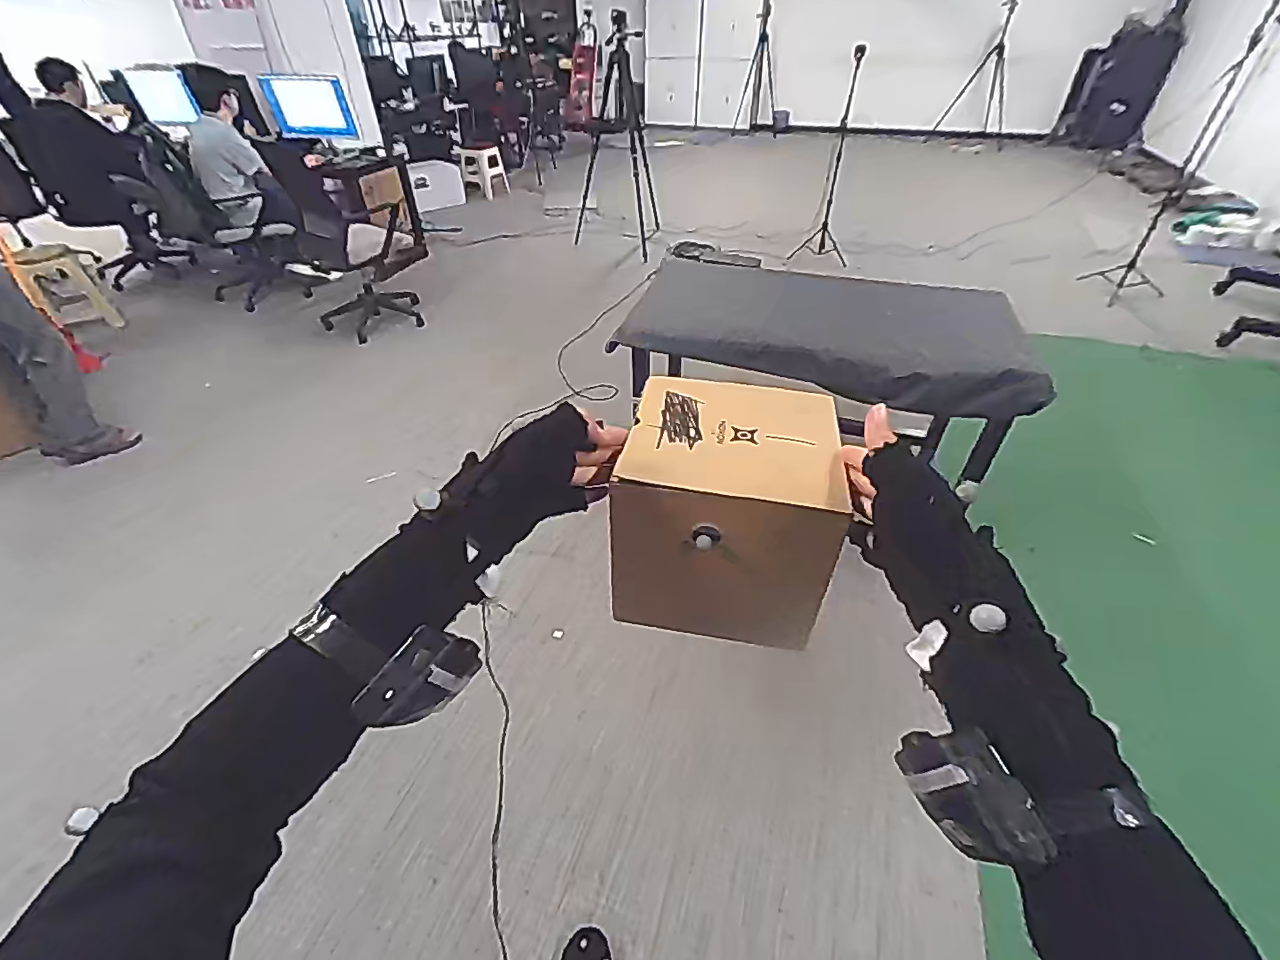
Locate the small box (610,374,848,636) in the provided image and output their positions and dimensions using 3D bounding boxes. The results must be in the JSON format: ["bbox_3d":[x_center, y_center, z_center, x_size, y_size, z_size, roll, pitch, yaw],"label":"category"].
[{"bbox_3d":[0.076,0.021,0.500,0.179,0.176,0.168,8,40,8],"label":"small box"}]
